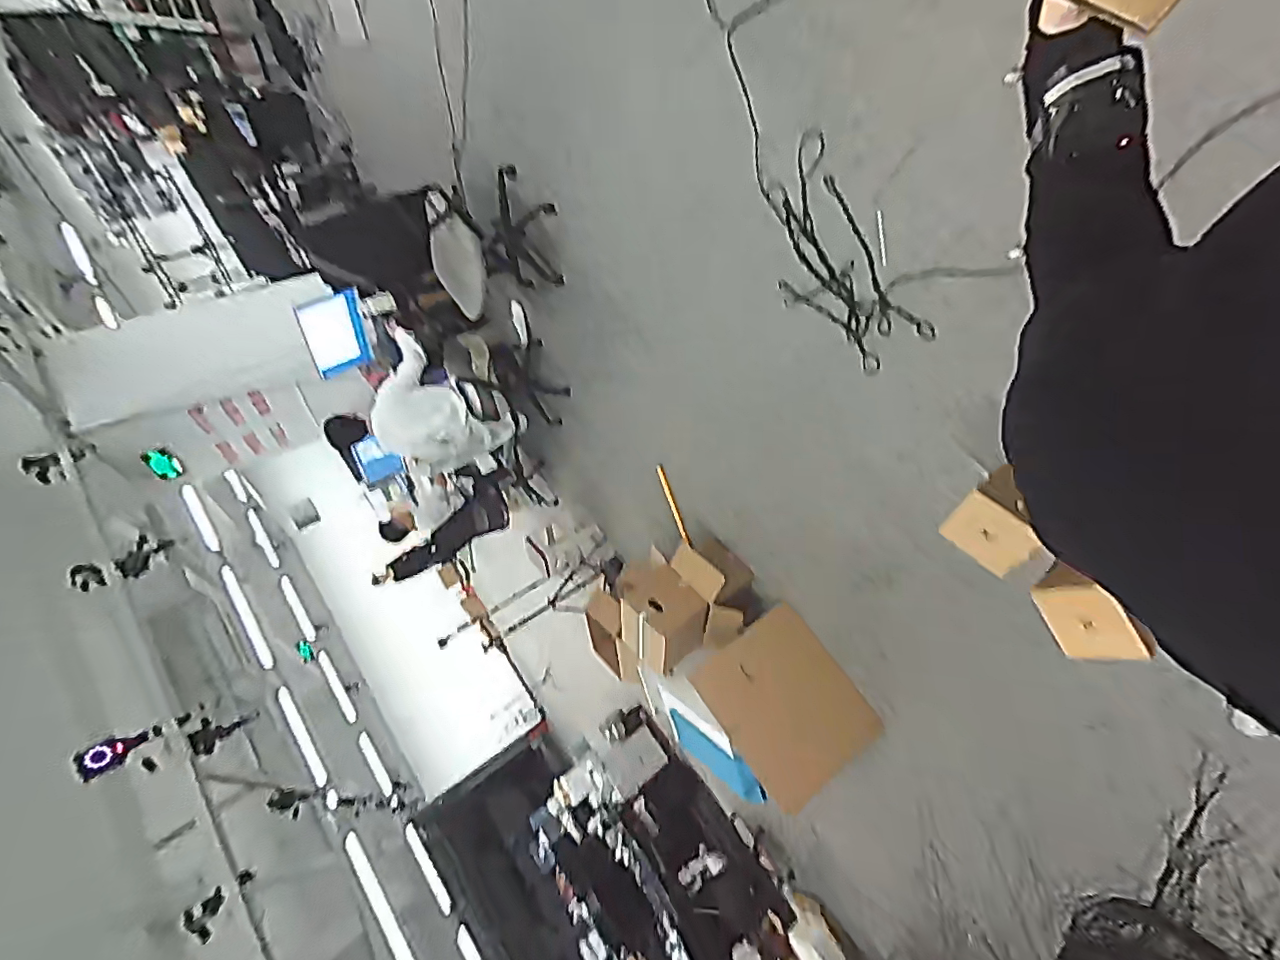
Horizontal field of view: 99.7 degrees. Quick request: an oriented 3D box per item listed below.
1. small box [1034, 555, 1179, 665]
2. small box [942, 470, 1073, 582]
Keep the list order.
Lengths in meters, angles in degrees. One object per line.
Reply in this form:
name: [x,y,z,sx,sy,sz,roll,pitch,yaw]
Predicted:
small box: [1.051,0.292,1.218,0.179,0.176,0.168,61,153,3]
small box: [0.890,0.106,1.309,0.179,0.176,0.168,45,147,27]
